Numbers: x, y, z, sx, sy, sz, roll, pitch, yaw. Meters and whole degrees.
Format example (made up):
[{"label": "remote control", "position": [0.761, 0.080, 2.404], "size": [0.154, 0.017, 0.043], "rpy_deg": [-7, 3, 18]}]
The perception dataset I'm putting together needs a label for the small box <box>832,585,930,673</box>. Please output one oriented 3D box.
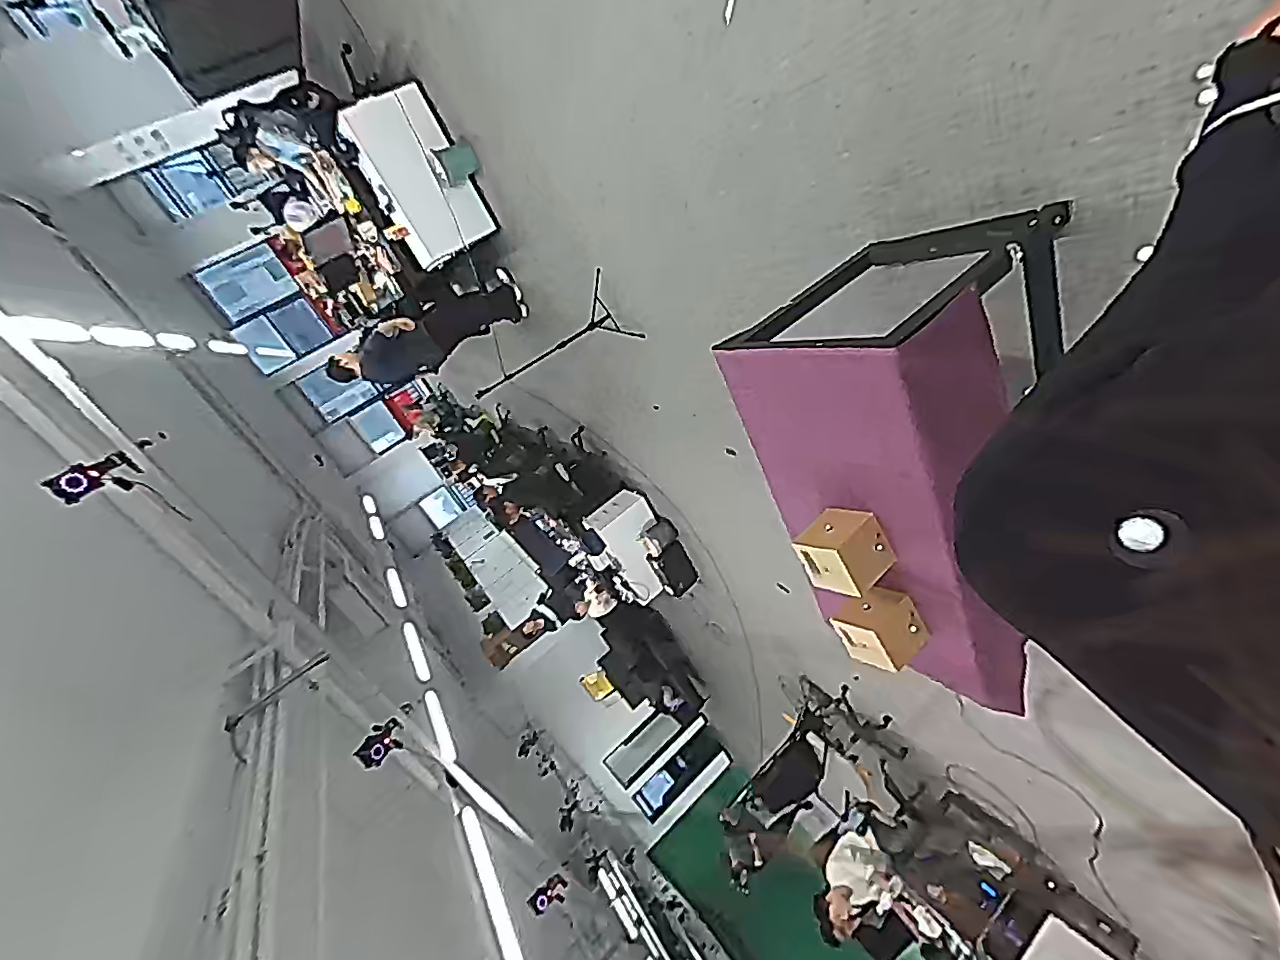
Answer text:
[{"label": "small box", "position": [0.727, 0.439, 1.628], "size": [0.168, 0.176, 0.179], "rpy_deg": [56, 161, -13]}]
